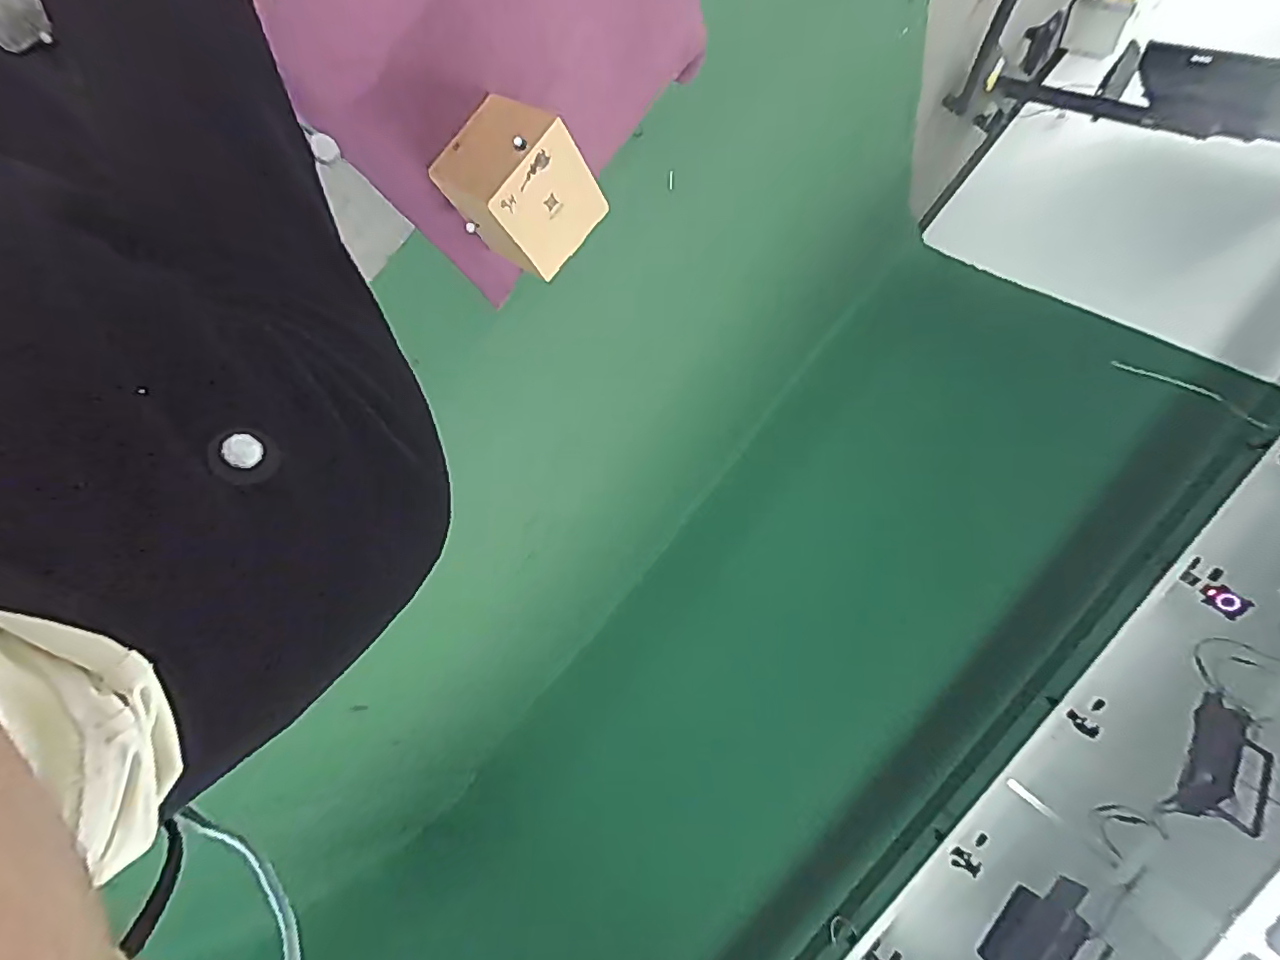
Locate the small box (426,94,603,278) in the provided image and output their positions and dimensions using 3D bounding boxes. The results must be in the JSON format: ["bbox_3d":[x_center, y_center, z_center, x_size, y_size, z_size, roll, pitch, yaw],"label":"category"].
[{"bbox_3d":[-0.197,-0.469,0.866,0.168,0.176,0.179,-51,153,-2],"label":"small box"}]
